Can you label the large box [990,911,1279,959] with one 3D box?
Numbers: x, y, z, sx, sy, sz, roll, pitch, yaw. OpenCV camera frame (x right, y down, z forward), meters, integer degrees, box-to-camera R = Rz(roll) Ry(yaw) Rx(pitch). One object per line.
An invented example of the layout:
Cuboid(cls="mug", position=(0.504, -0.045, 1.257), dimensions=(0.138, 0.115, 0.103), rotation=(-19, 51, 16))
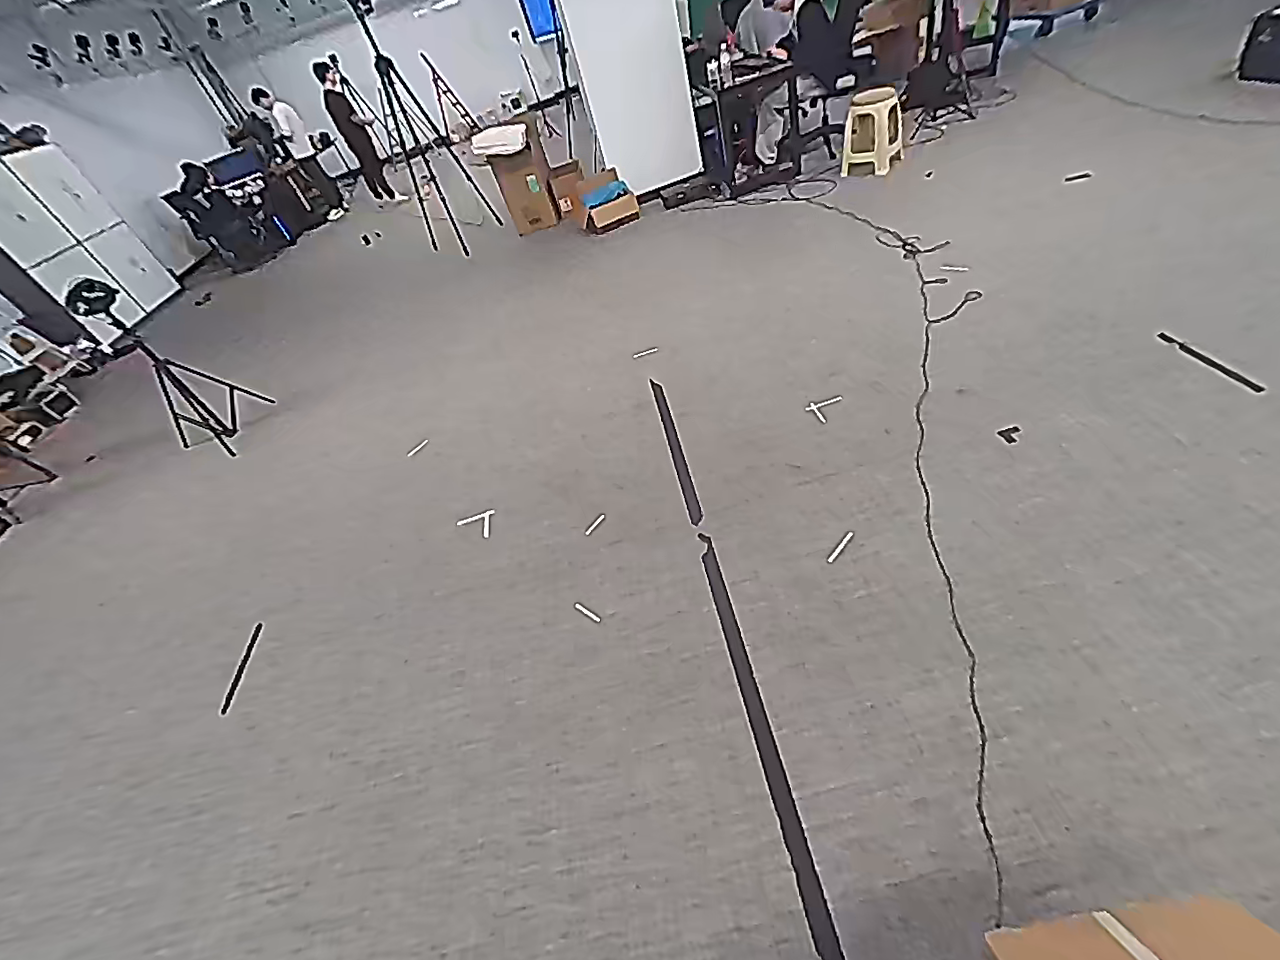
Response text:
Cuboid(cls="large box", position=(0.629, 0.718, 0.506), dimensions=(0.320, 0.408, 0.320), rotation=(-15, 80, 6))
